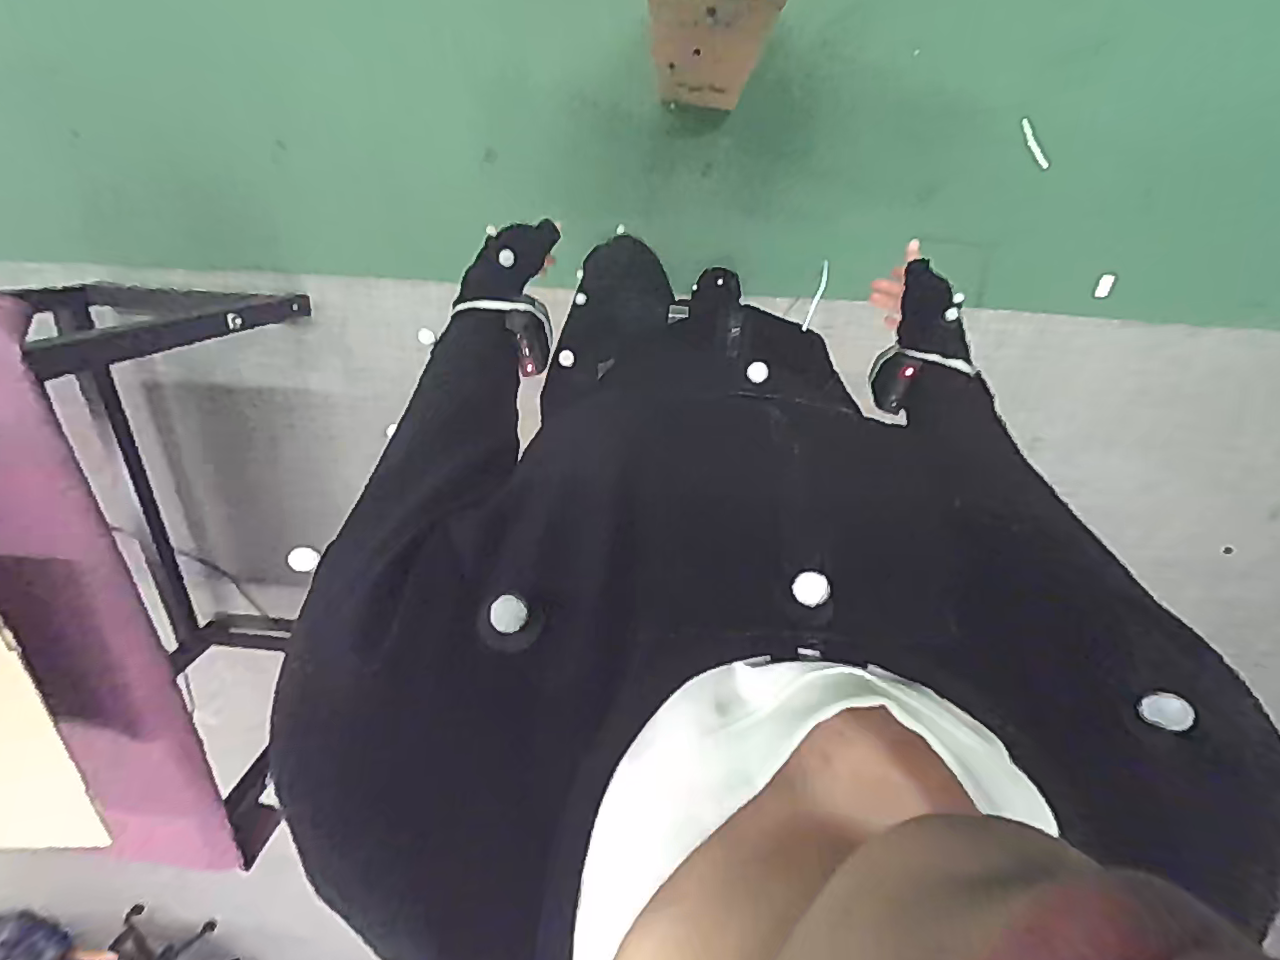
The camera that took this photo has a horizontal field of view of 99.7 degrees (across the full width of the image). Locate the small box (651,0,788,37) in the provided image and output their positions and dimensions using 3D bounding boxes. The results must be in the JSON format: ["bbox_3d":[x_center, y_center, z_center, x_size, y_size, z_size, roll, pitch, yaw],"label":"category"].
[{"bbox_3d":[0.098,-0.645,0.611,0.168,0.176,0.179,6,115,0],"label":"small box"}]

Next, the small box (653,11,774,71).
[{"bbox_3d":[0.107,-0.712,0.762,0.168,0.176,0.179,6,115,0],"label":"small box"}]

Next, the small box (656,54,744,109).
[{"bbox_3d":[0.123,-0.846,1.060,0.168,0.176,0.179,5,117,1],"label":"small box"}]
